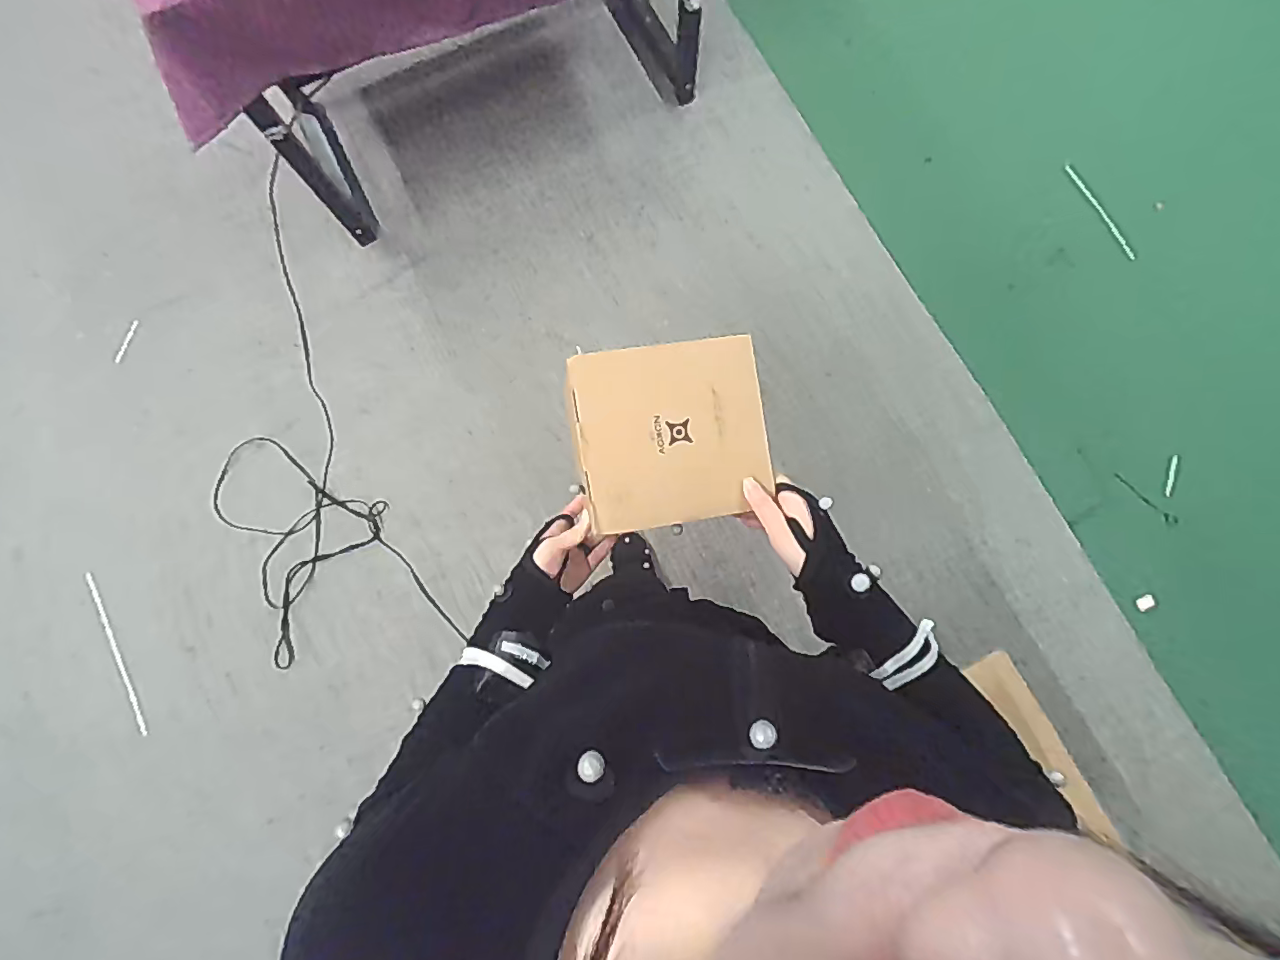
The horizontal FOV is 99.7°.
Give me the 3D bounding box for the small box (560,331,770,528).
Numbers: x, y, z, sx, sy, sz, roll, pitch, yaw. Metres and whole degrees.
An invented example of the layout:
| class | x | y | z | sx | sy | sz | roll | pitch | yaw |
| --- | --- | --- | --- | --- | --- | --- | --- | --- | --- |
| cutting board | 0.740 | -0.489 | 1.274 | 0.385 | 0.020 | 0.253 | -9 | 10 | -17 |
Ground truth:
| class | x | y | z | sx | sy | sz | roll | pitch | yaw |
| --- | --- | --- | --- | --- | --- | --- | --- | --- | --- |
| small box | 0.015 | -0.045 | 0.571 | 0.179 | 0.176 | 0.168 | -9 | 90 | -8 |
